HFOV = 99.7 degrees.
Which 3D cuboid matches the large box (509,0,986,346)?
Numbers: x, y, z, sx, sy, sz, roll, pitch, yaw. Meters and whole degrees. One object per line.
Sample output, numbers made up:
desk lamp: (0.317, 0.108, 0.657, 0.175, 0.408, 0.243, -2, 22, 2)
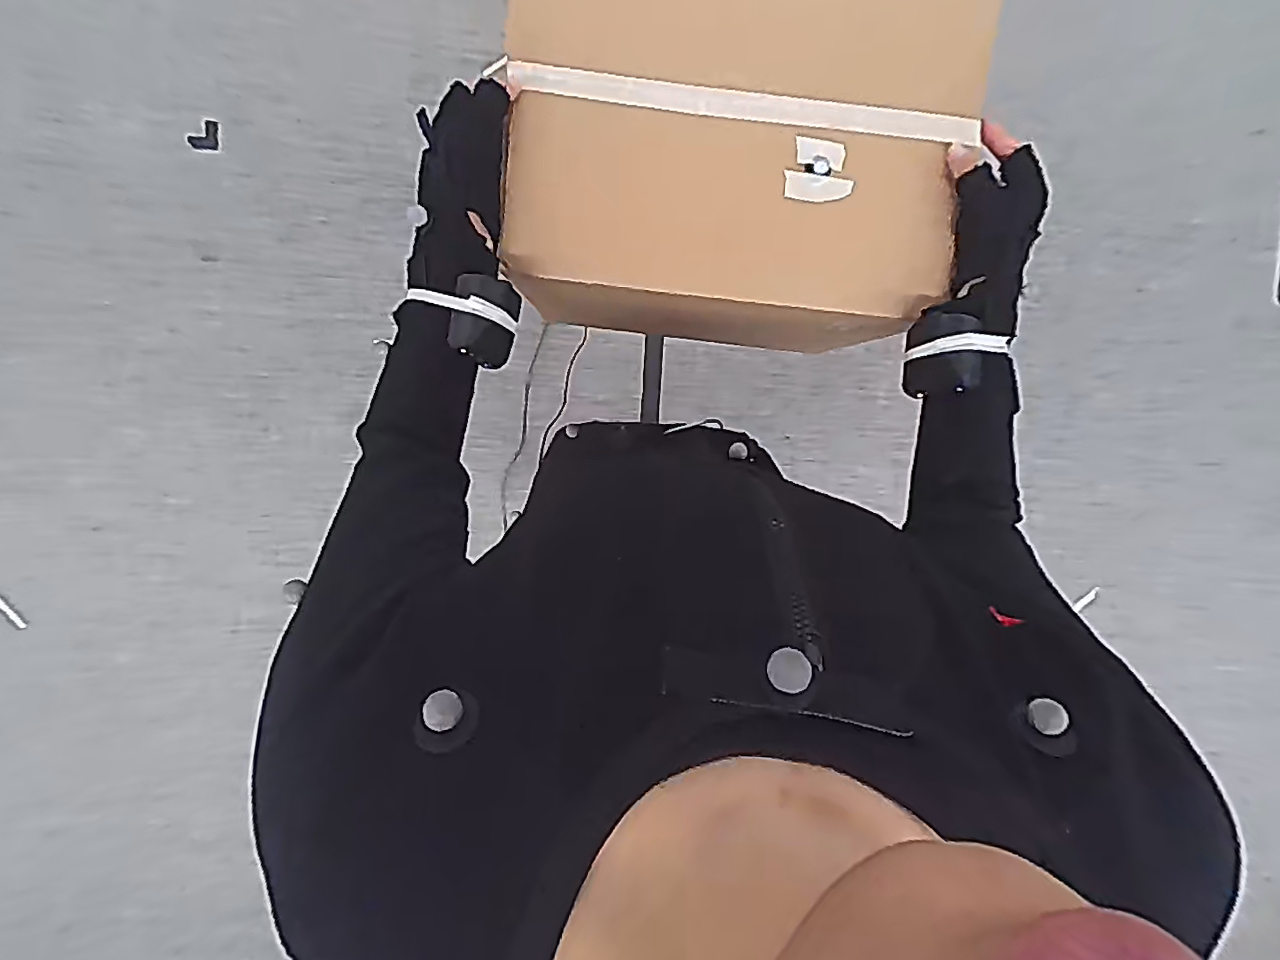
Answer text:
large box: (0.084, -0.343, 0.621, 0.408, 0.320, 0.320, 6, 99, -3)
